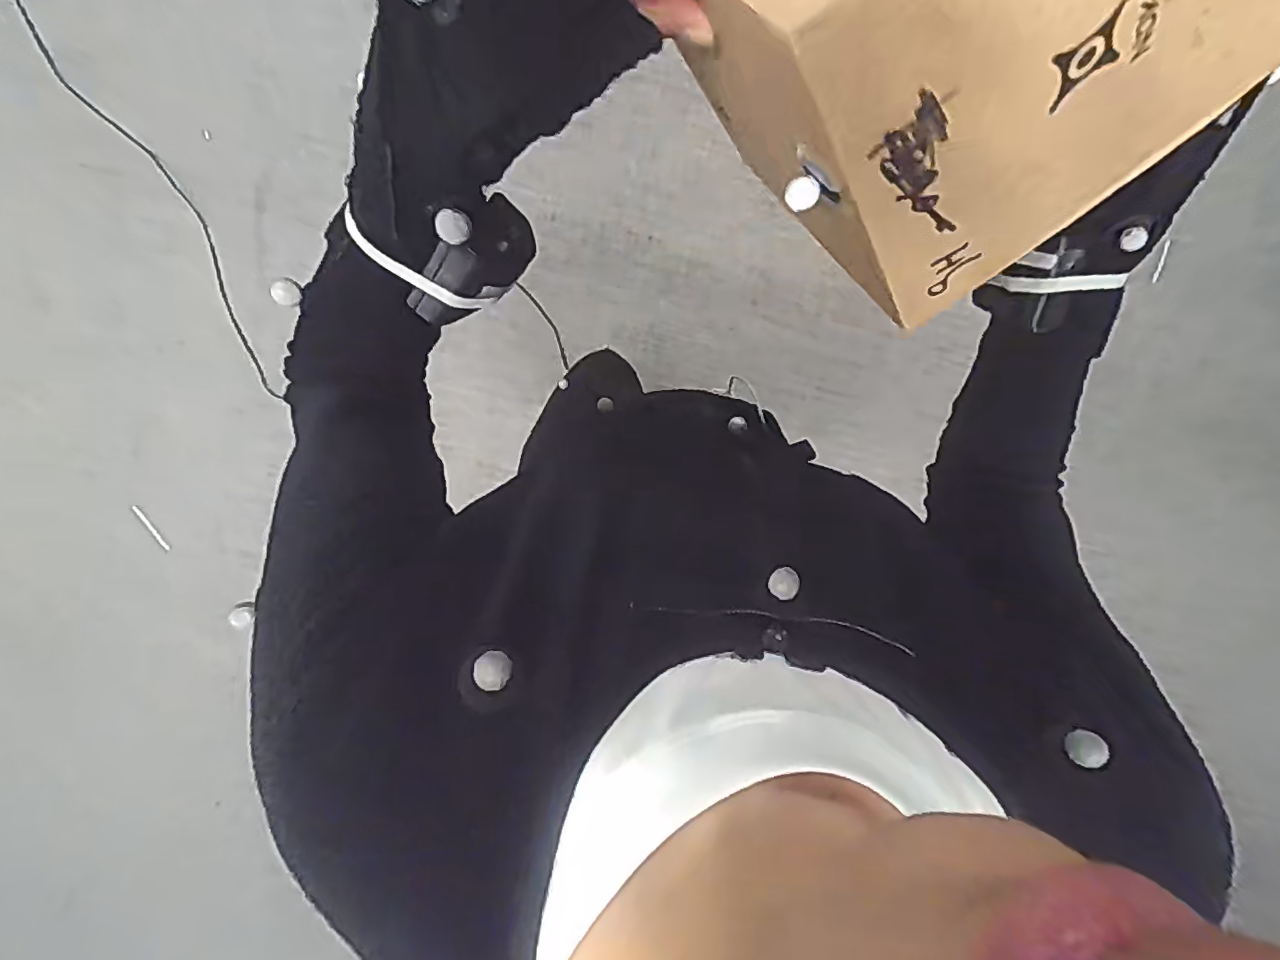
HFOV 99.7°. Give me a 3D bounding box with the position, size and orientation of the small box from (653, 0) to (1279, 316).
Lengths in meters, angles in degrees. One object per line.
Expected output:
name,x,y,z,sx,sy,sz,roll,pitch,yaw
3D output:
small box,0.121,-0.214,0.223,0.179,0.168,0.176,-38,58,21
